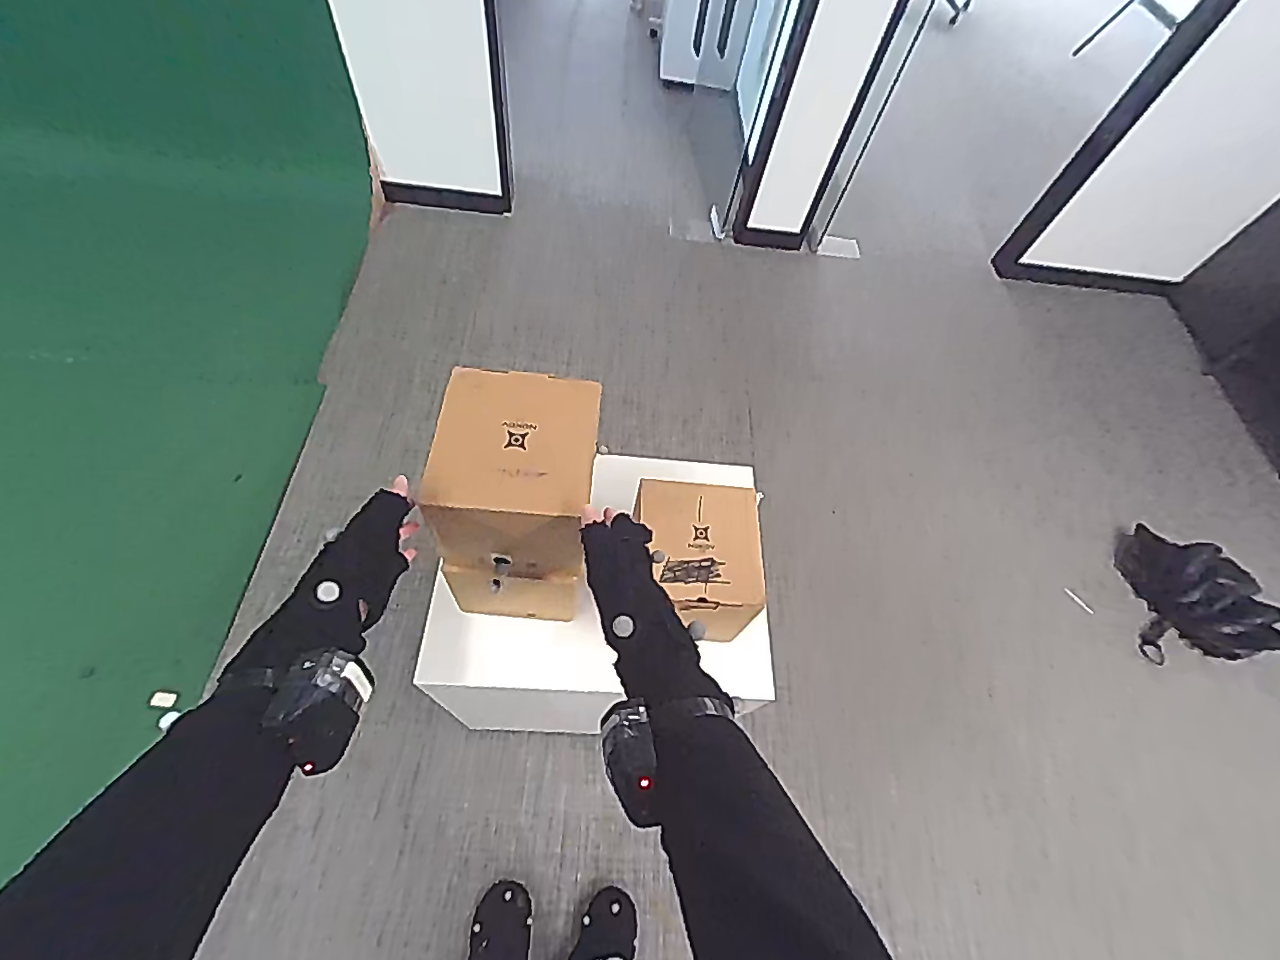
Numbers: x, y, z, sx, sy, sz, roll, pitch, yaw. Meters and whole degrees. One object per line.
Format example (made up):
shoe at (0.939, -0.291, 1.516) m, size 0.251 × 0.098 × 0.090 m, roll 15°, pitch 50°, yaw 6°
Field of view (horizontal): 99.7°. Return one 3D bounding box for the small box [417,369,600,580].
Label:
small box at (-0.139, -0.001, 0.627) m, size 0.168 × 0.176 × 0.179 m, roll 5°, pitch 59°, yaw -6°

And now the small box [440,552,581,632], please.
small box at (-0.168, 0.099, 0.772) m, size 0.168 × 0.176 × 0.179 m, roll 7°, pitch 57°, yaw -4°

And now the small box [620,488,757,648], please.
small box at (0.062, 0.134, 0.785) m, size 0.168 × 0.176 × 0.179 m, roll 6°, pitch 57°, yaw -5°
